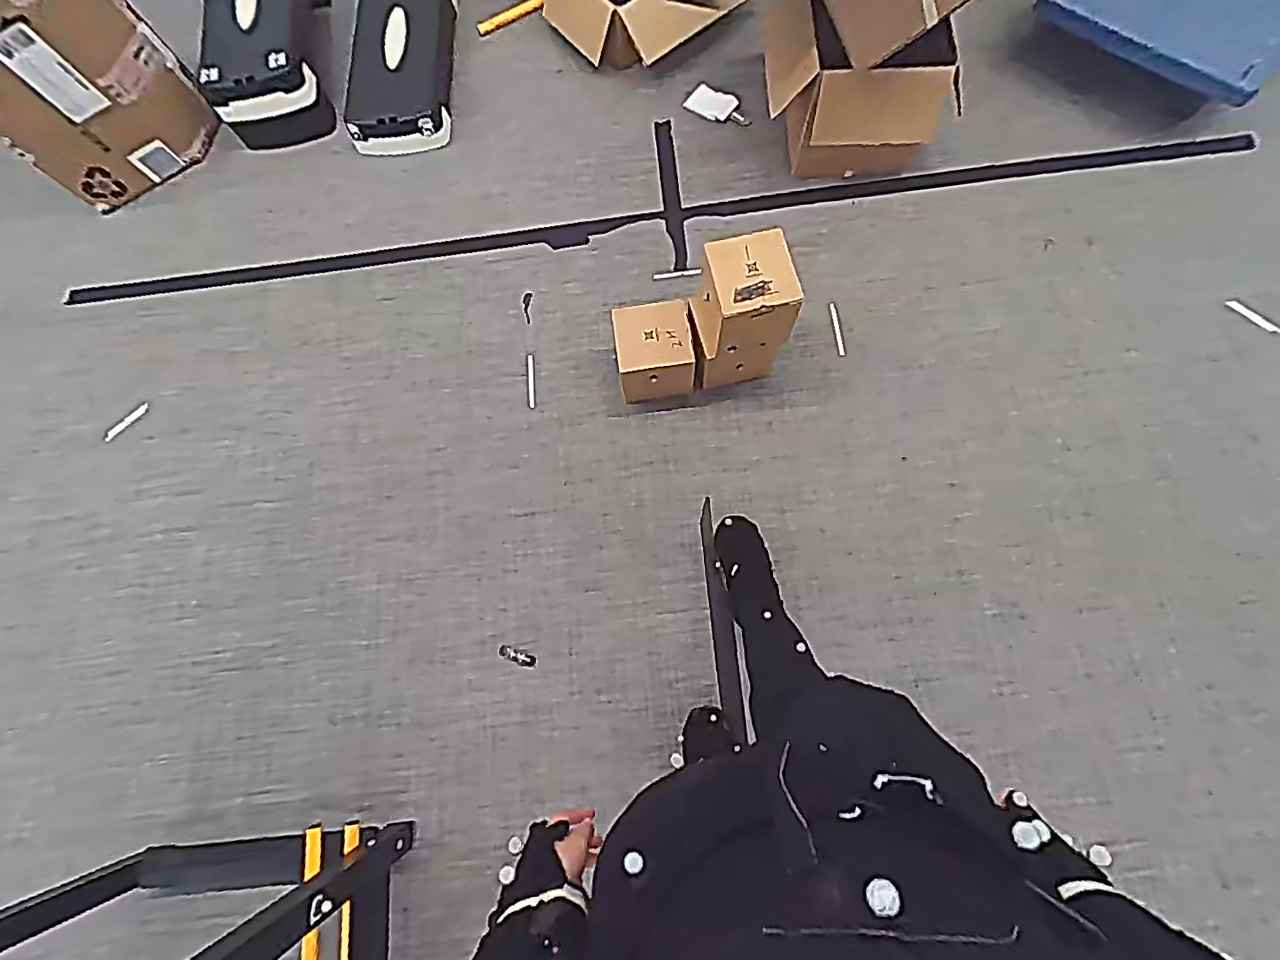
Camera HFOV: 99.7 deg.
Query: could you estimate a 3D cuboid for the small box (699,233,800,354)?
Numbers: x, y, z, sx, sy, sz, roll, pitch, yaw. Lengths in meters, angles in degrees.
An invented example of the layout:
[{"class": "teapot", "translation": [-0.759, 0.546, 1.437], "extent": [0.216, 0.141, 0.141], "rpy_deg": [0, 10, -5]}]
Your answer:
[{"class": "small box", "translation": [0.225, -0.386, 1.156], "extent": [0.168, 0.176, 0.179], "rpy_deg": [-11, 73, 0]}]
